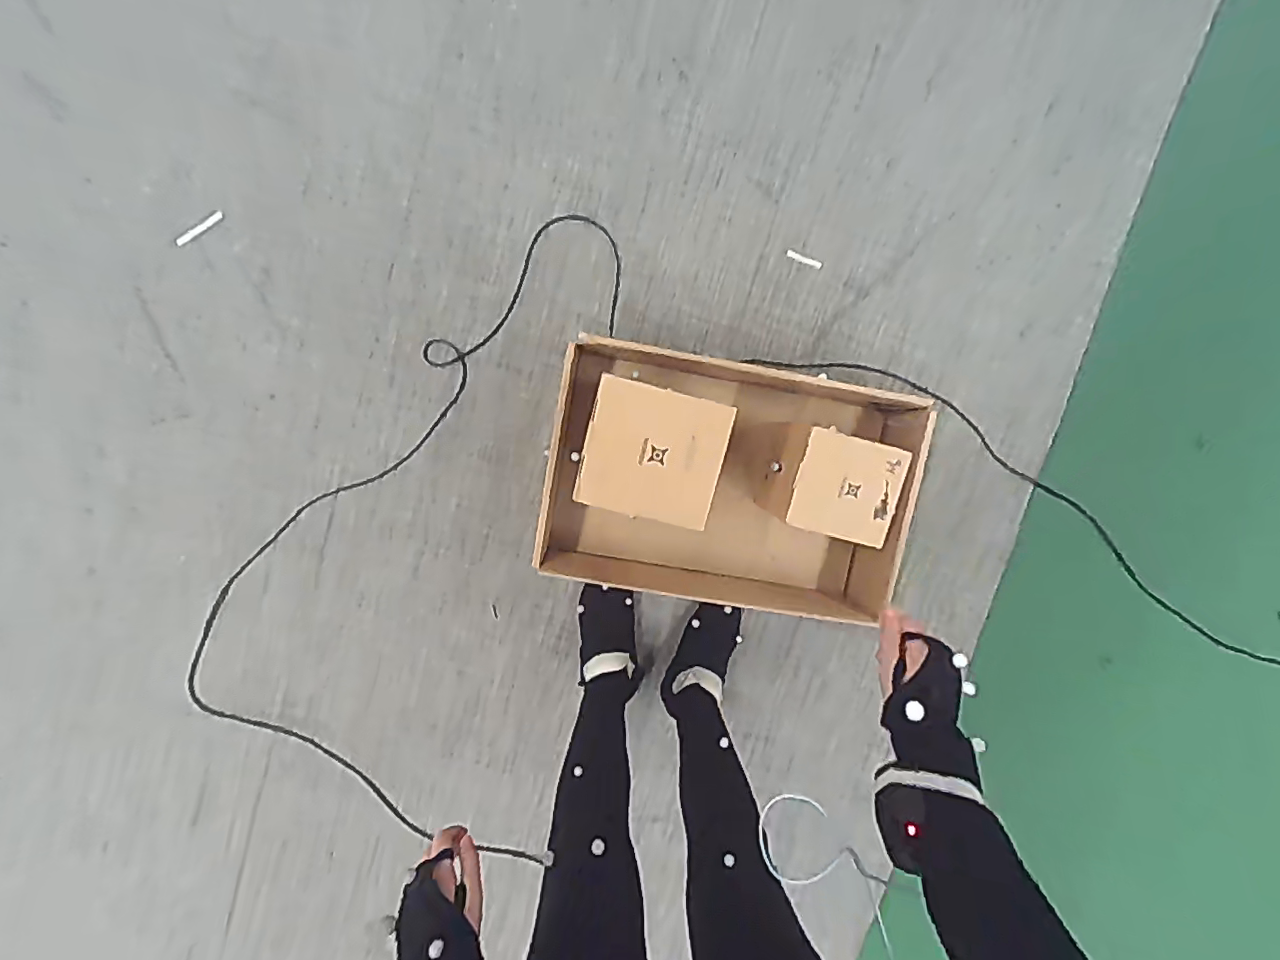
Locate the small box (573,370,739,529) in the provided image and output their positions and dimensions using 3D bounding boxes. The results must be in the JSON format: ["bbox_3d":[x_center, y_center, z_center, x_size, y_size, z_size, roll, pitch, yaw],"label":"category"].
[{"bbox_3d":[0.014,-0.046,0.754,0.179,0.176,0.168,14,98,-7],"label":"small box"}]

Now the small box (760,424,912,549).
[{"bbox_3d":[0.328,0.004,0.946,0.179,0.176,0.168,15,96,-5],"label":"small box"}]
